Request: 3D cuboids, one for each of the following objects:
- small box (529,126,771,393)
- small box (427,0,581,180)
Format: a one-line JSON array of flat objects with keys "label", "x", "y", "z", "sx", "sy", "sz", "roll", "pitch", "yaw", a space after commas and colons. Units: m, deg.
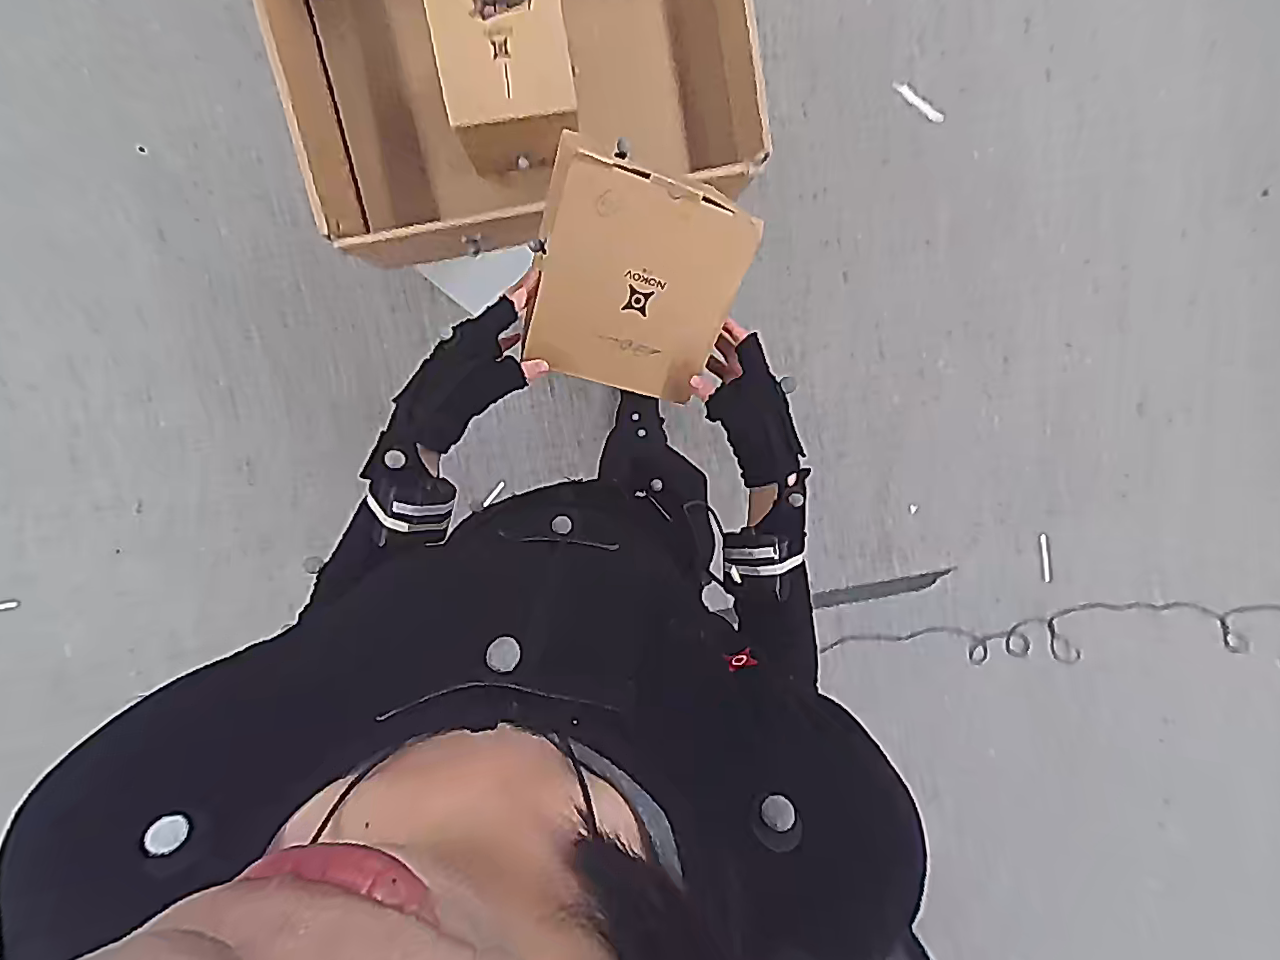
[{"label": "small box", "x": -0.008, "y": -0.212, "z": 0.517, "sx": 0.168, "sy": 0.176, "sz": 0.179, "roll": 11, "pitch": 124, "yaw": -18}, {"label": "small box", "x": -0.177, "y": -0.548, "z": 0.747, "sx": 0.168, "sy": 0.176, "sz": 0.179, "roll": -10, "pitch": 101, "yaw": -2}]
